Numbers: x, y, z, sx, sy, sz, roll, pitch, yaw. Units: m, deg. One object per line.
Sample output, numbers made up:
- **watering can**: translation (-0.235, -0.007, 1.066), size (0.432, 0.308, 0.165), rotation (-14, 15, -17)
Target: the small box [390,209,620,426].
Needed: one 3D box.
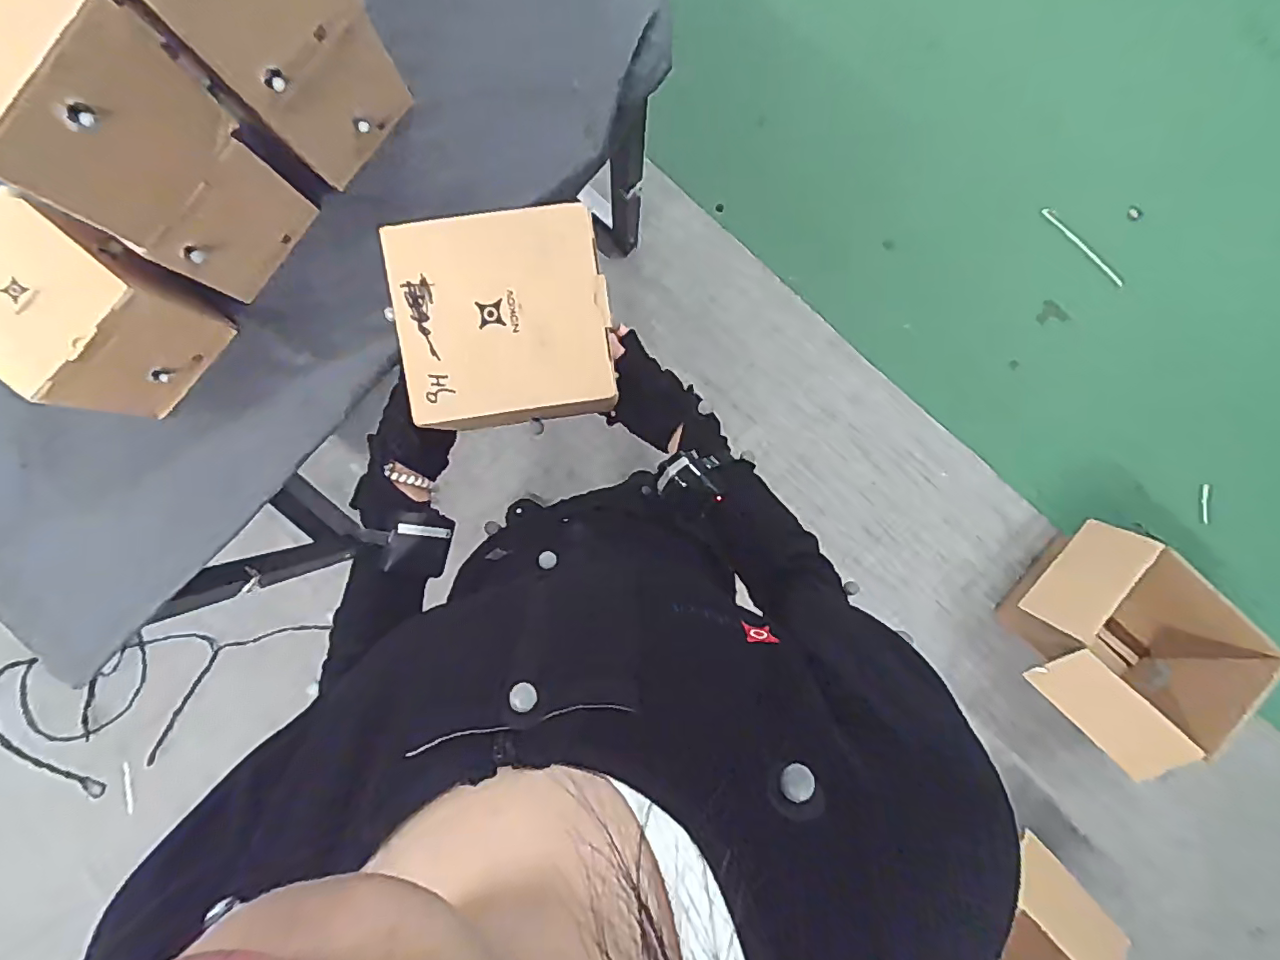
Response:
- **small box**: translation (-0.121, -0.146, 0.540), size (0.179, 0.176, 0.168), rotation (-8, 93, -5)
